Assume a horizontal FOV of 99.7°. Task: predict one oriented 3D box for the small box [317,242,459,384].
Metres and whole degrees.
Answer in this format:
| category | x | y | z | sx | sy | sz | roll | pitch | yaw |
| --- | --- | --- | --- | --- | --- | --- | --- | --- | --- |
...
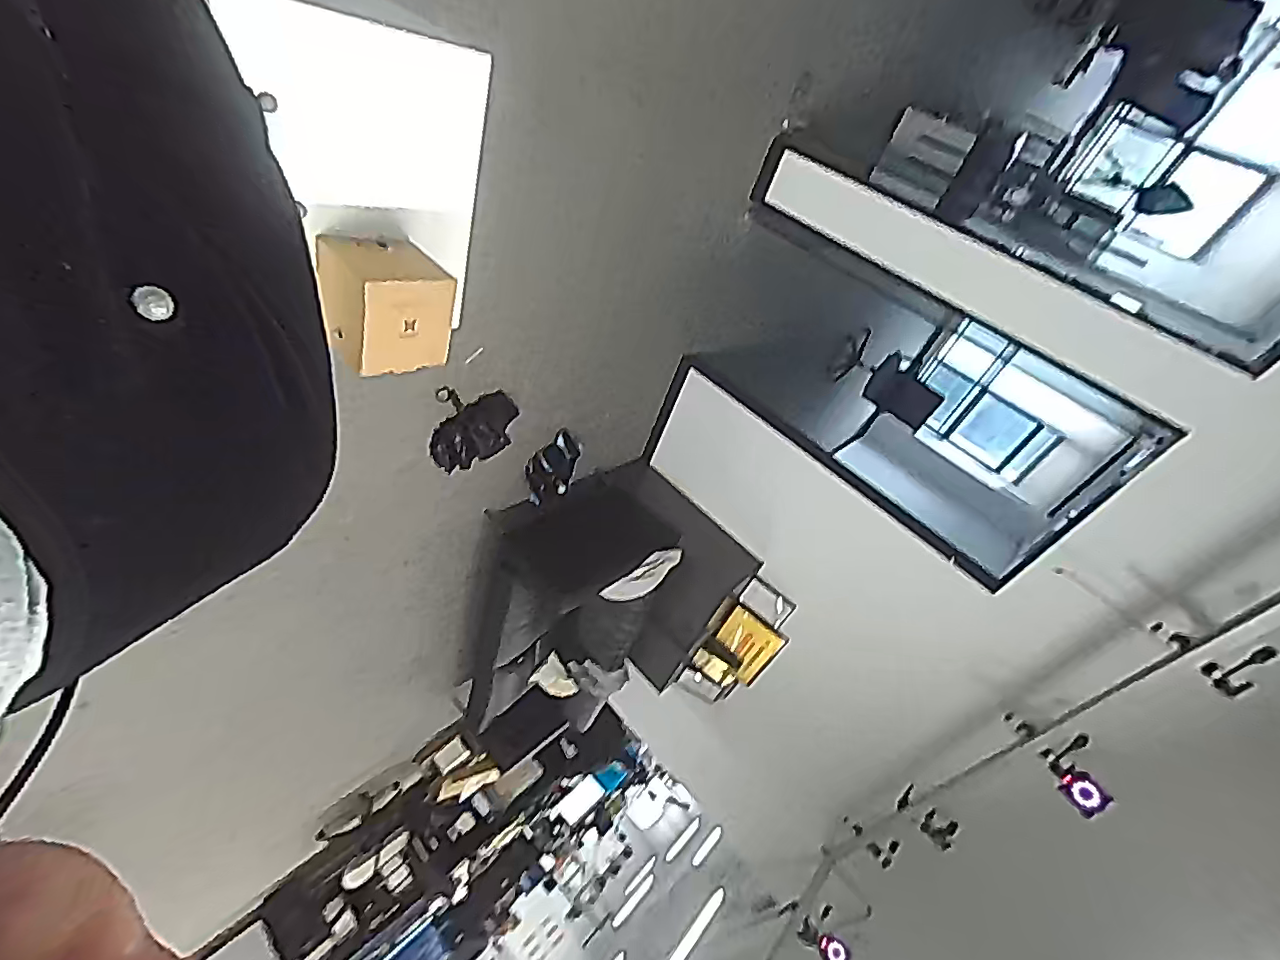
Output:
| category | x | y | z | sx | sy | sz | roll | pitch | yaw |
| --- | --- | --- | --- | --- | --- | --- | --- | --- | --- |
| small box | -0.449 | -0.299 | 0.961 | 0.168 | 0.176 | 0.179 | -25 | 147 | -45 |
